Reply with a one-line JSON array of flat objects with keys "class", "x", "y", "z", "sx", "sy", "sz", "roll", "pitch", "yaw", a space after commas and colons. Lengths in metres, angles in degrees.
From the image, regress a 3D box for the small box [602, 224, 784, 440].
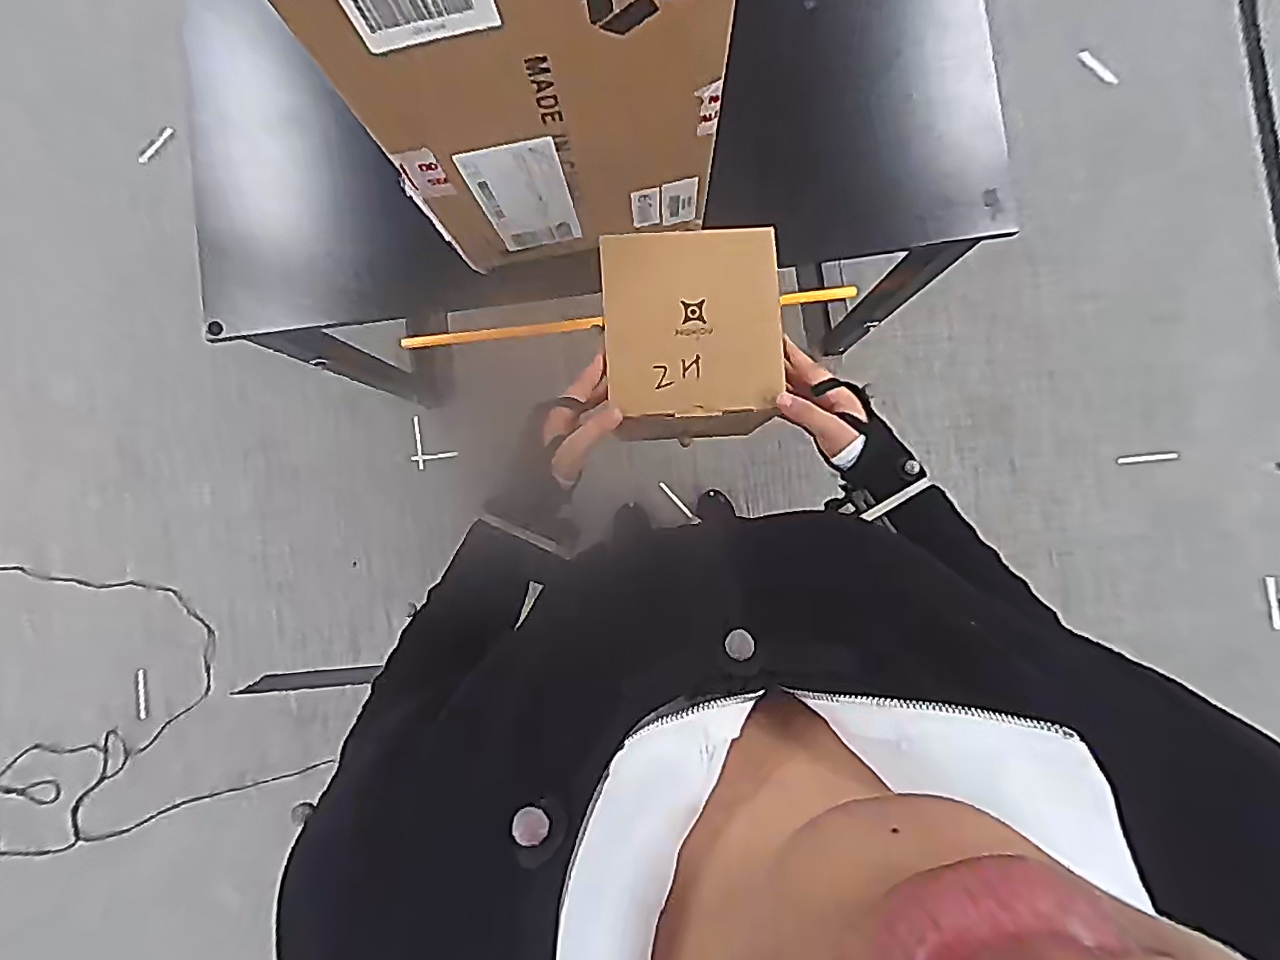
[{"class": "small box", "x": 0.045, "y": -0.145, "z": 0.578, "sx": 0.168, "sy": 0.176, "sz": 0.179, "roll": -3, "pitch": 86, "yaw": -1}]
